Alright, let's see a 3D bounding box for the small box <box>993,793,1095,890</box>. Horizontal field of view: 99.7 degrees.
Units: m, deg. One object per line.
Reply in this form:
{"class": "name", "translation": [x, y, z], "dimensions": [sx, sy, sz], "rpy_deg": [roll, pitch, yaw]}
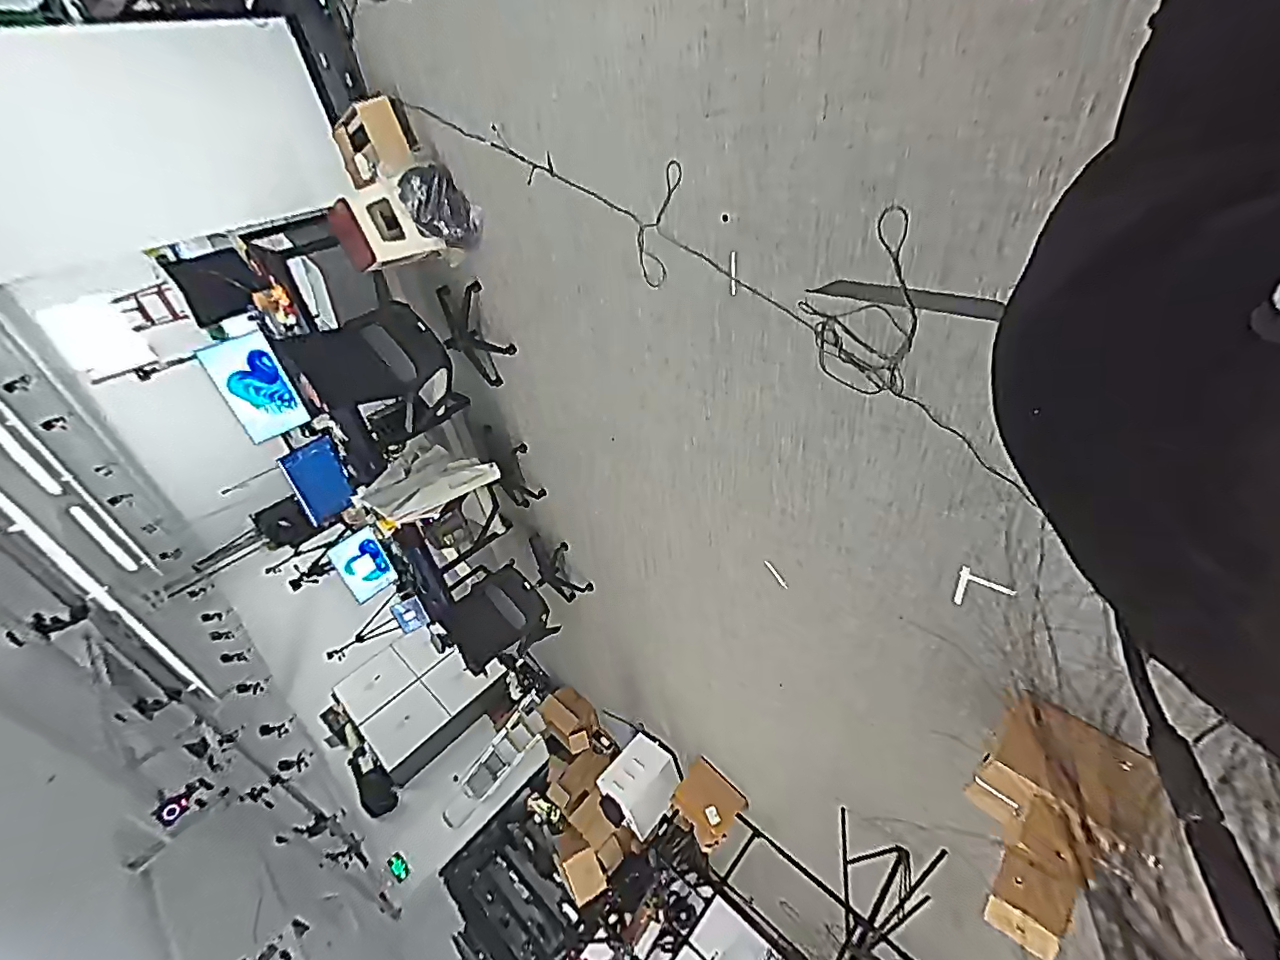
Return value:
{"class": "small box", "translation": [1.197, 1.076, 1.601], "dimensions": [0.179, 0.176, 0.168], "rpy_deg": [32, 142, 30]}

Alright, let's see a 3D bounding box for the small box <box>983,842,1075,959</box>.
{"class": "small box", "translation": [1.093, 1.173, 1.521], "dimensions": [0.168, 0.176, 0.179], "rpy_deg": [19, 135, 42]}
